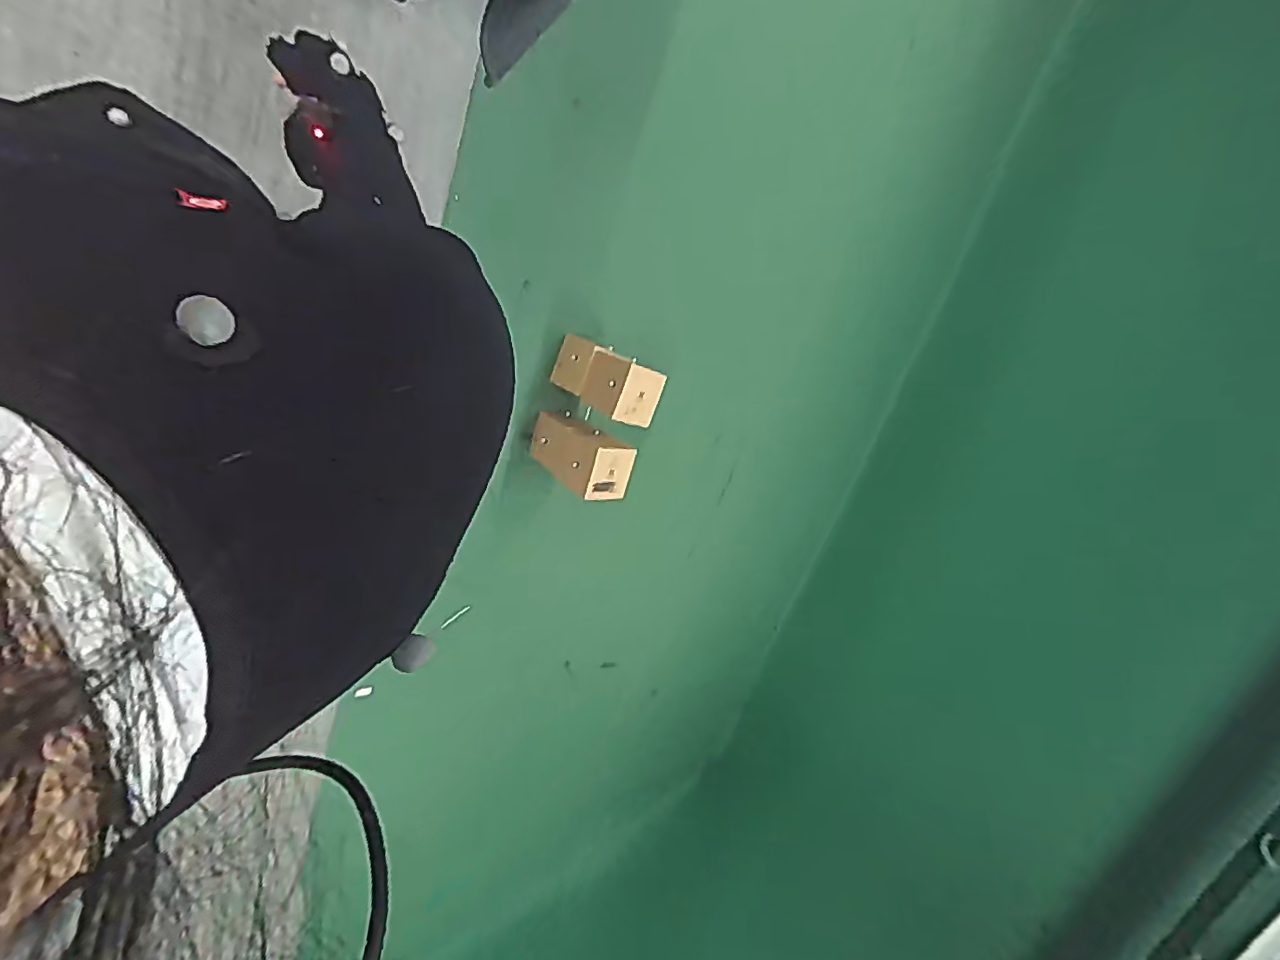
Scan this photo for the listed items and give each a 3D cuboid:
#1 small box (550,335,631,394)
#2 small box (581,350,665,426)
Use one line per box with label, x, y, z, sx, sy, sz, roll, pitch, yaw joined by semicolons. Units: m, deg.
small box;-0.169;-0.367;1.784;0.179;0.176;0.168;9;107;-48
small box;-0.058;-0.291;1.688;0.168;0.176;0.179;8;108;-48
